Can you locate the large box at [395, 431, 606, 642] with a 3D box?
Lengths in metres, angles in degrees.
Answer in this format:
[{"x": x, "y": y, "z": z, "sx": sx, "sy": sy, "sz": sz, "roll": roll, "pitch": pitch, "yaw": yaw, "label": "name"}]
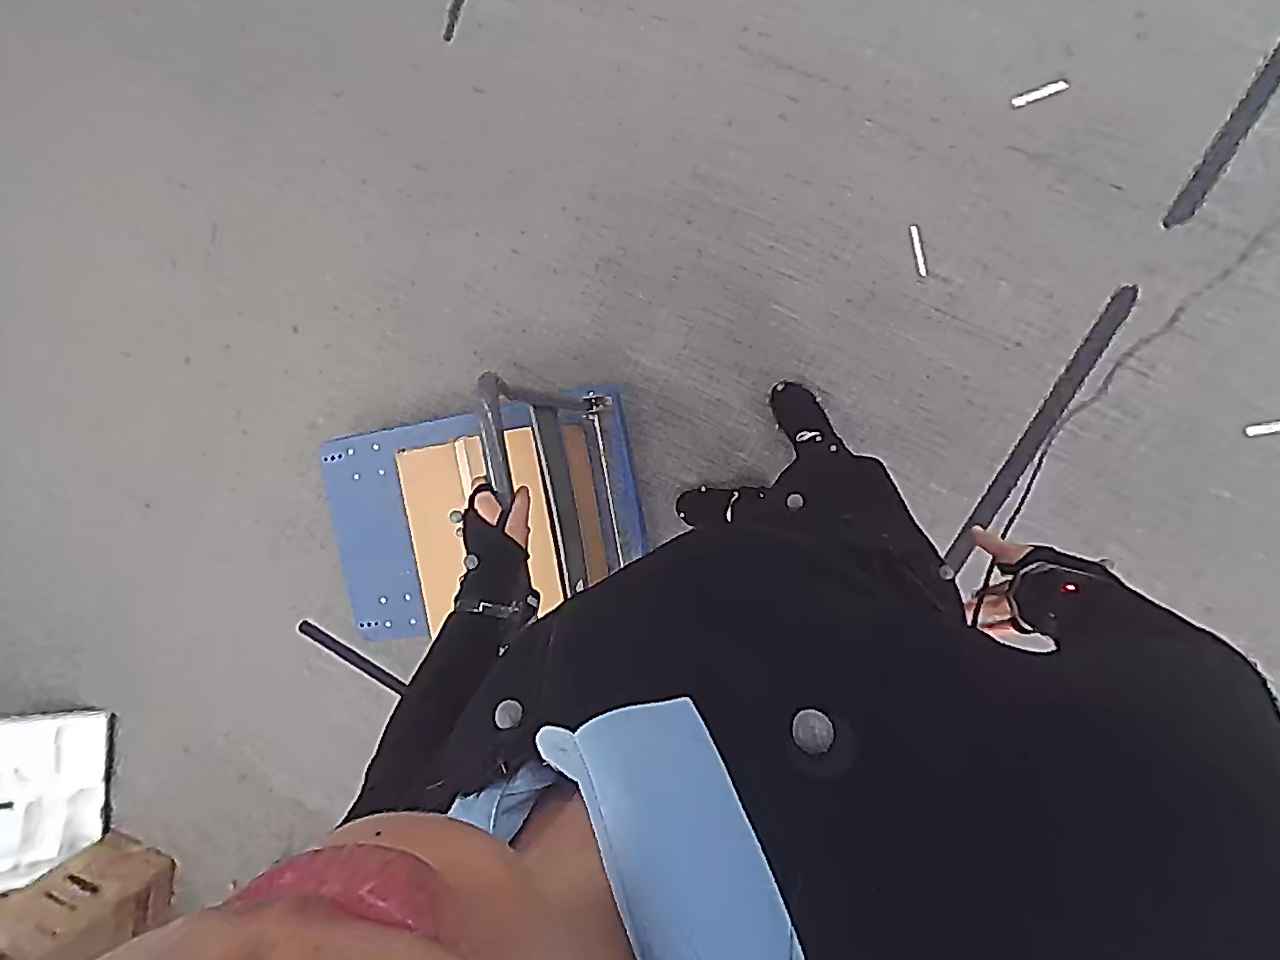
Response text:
[{"x": -0.295, "y": 0.111, "z": 1.238, "sx": 0.320, "sy": 0.320, "sz": 0.408, "roll": -9, "pitch": 93, "yaw": 12, "label": "large box"}]
